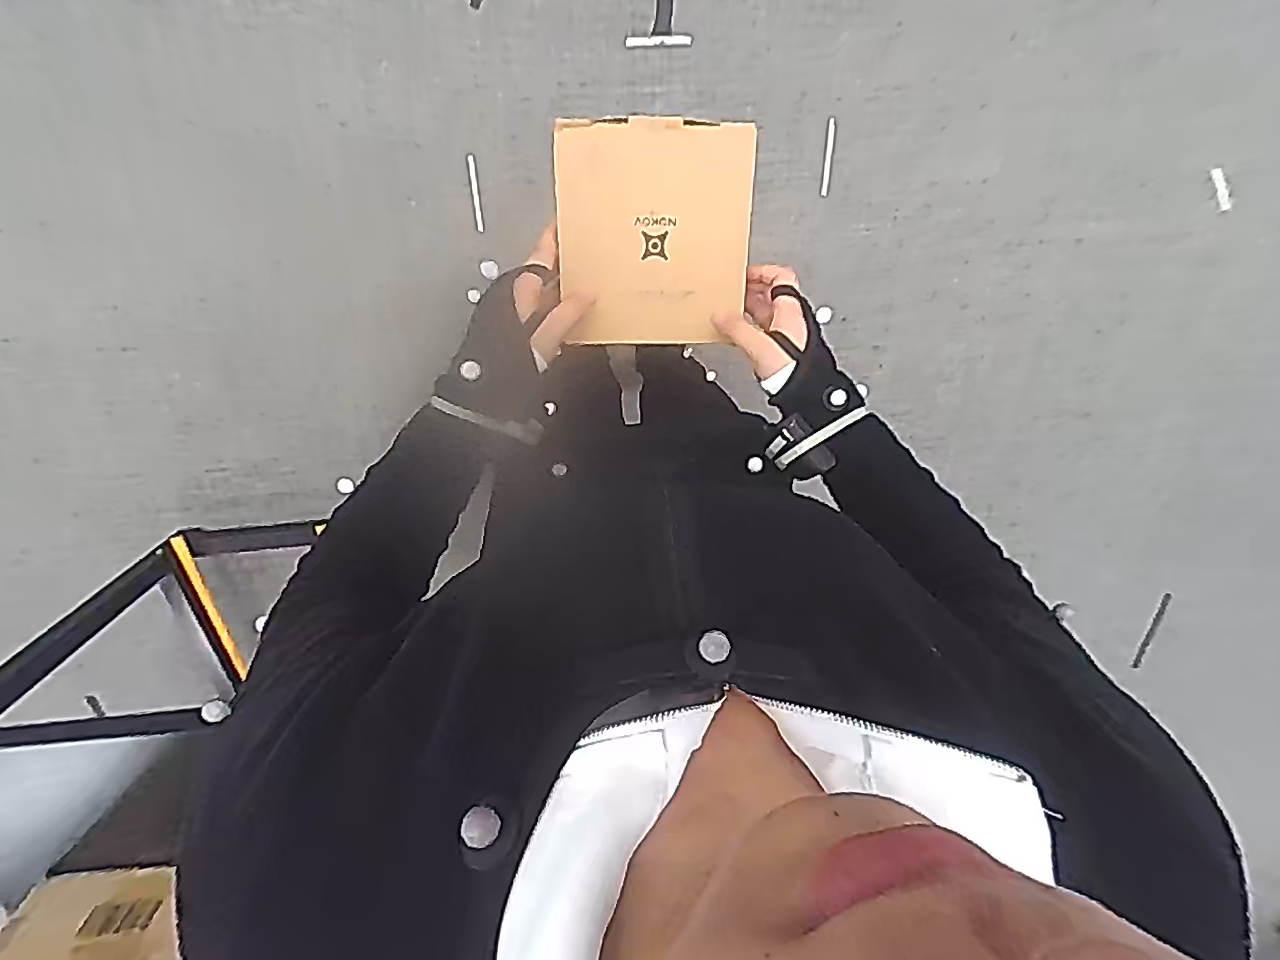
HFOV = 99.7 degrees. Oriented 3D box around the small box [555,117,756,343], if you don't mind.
[{"bbox_3d":[0.008,-0.238,0.533,0.168,0.176,0.179,-2,114,-3],"label":"small box"}]
